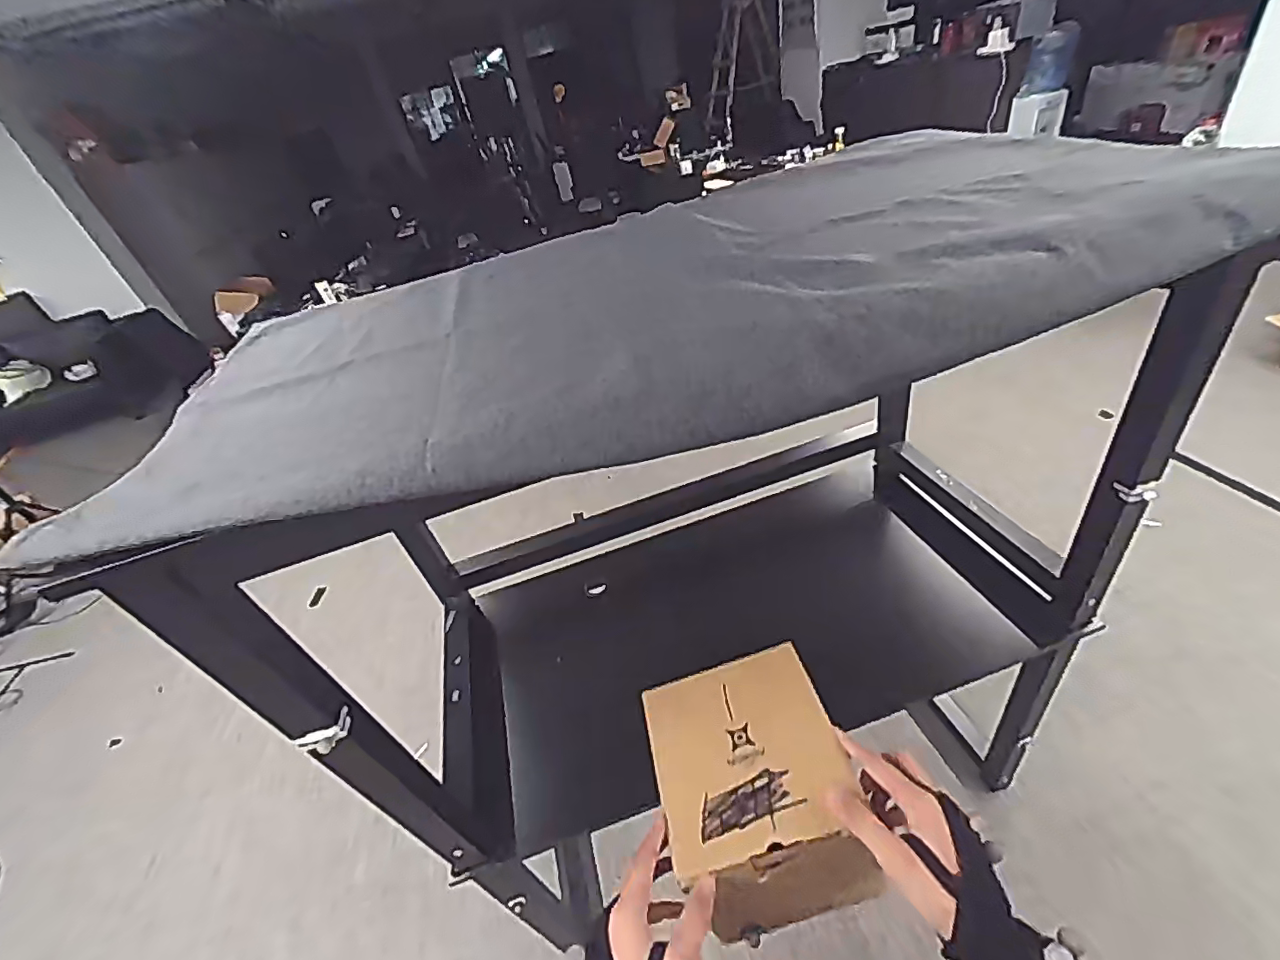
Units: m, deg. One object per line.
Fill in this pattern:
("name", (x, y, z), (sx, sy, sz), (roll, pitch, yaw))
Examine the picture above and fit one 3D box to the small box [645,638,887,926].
("small box", (0.119, 0.294, 0.524), (0.168, 0.176, 0.179), (-21, 34, 3))
